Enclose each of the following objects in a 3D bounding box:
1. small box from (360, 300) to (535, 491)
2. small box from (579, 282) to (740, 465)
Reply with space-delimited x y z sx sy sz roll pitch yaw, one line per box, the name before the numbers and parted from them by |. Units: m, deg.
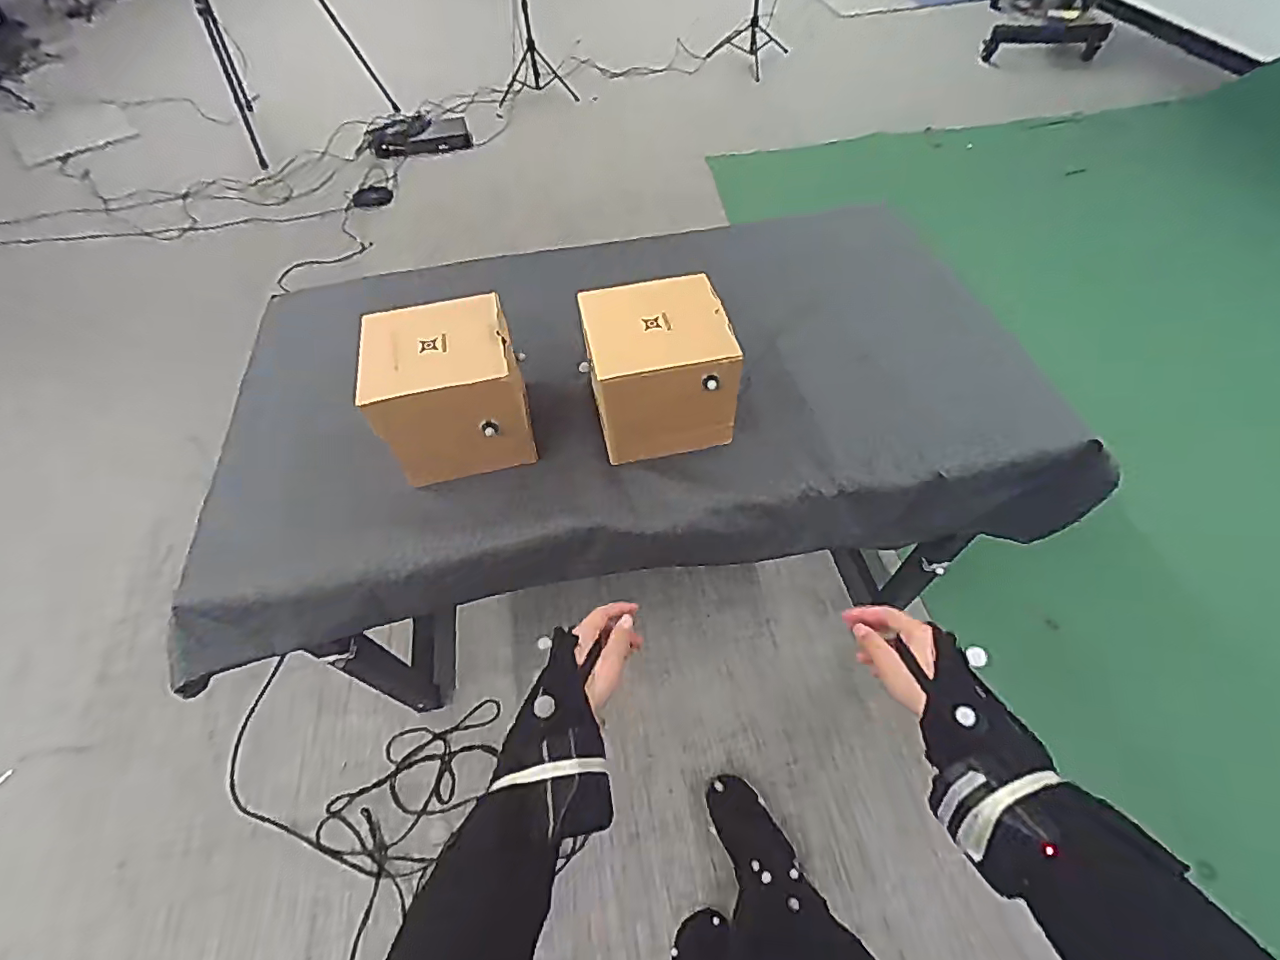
small box | -0.246 -0.109 0.727 0.179 0.176 0.168 -14 54 -5
small box | 0.023 -0.139 0.735 0.179 0.176 0.168 -11 55 -5
